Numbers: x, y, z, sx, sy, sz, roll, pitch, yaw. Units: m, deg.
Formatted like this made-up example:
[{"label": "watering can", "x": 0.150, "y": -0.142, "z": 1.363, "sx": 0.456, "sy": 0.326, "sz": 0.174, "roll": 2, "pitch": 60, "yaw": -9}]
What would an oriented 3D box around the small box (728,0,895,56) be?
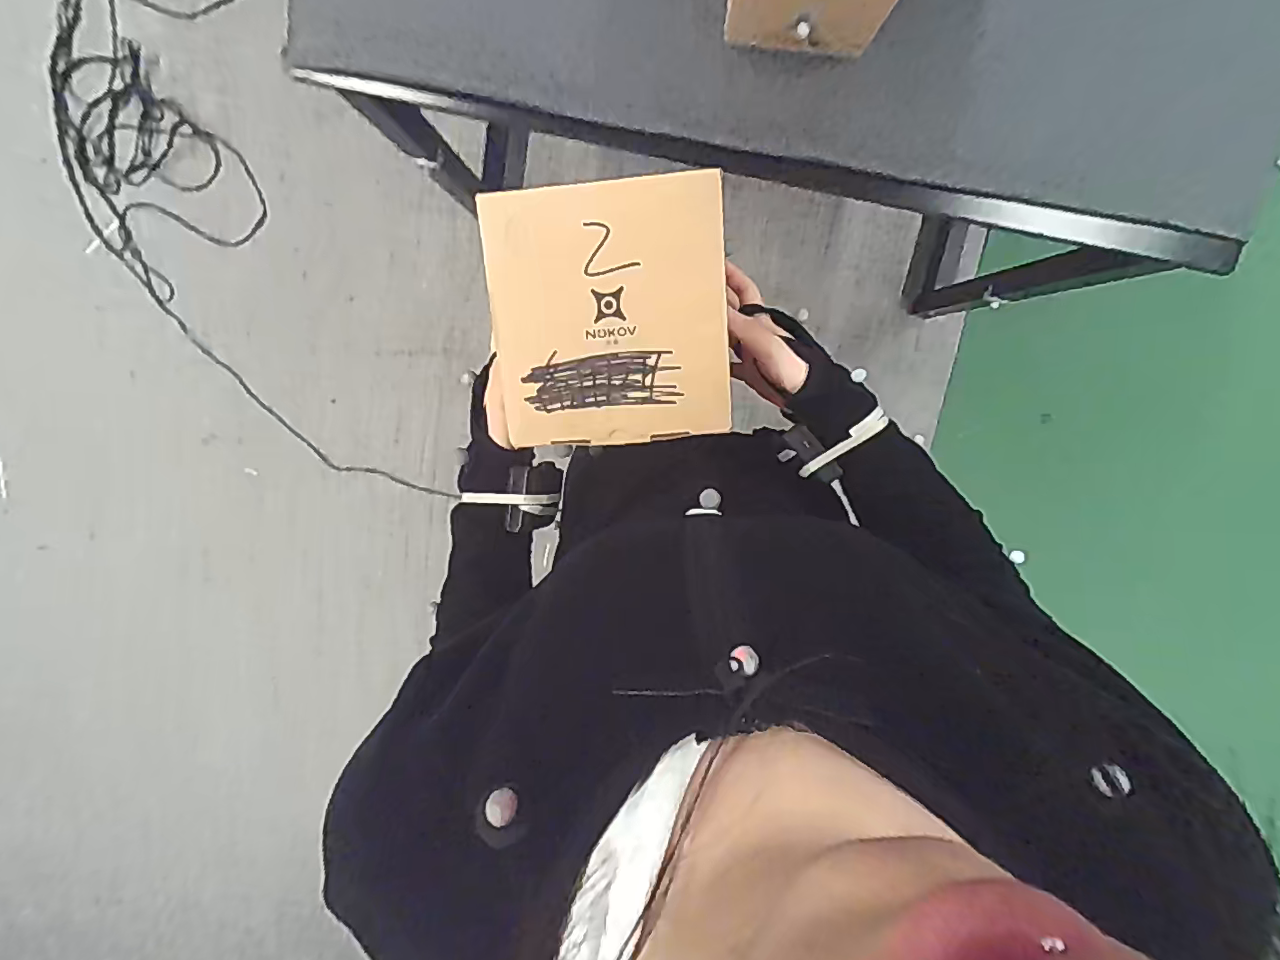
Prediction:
[{"label": "small box", "x": 0.188, "y": -0.578, "z": 0.539, "sx": 0.168, "sy": 0.176, "sz": 0.179, "roll": 6, "pitch": 100, "yaw": 0}]
